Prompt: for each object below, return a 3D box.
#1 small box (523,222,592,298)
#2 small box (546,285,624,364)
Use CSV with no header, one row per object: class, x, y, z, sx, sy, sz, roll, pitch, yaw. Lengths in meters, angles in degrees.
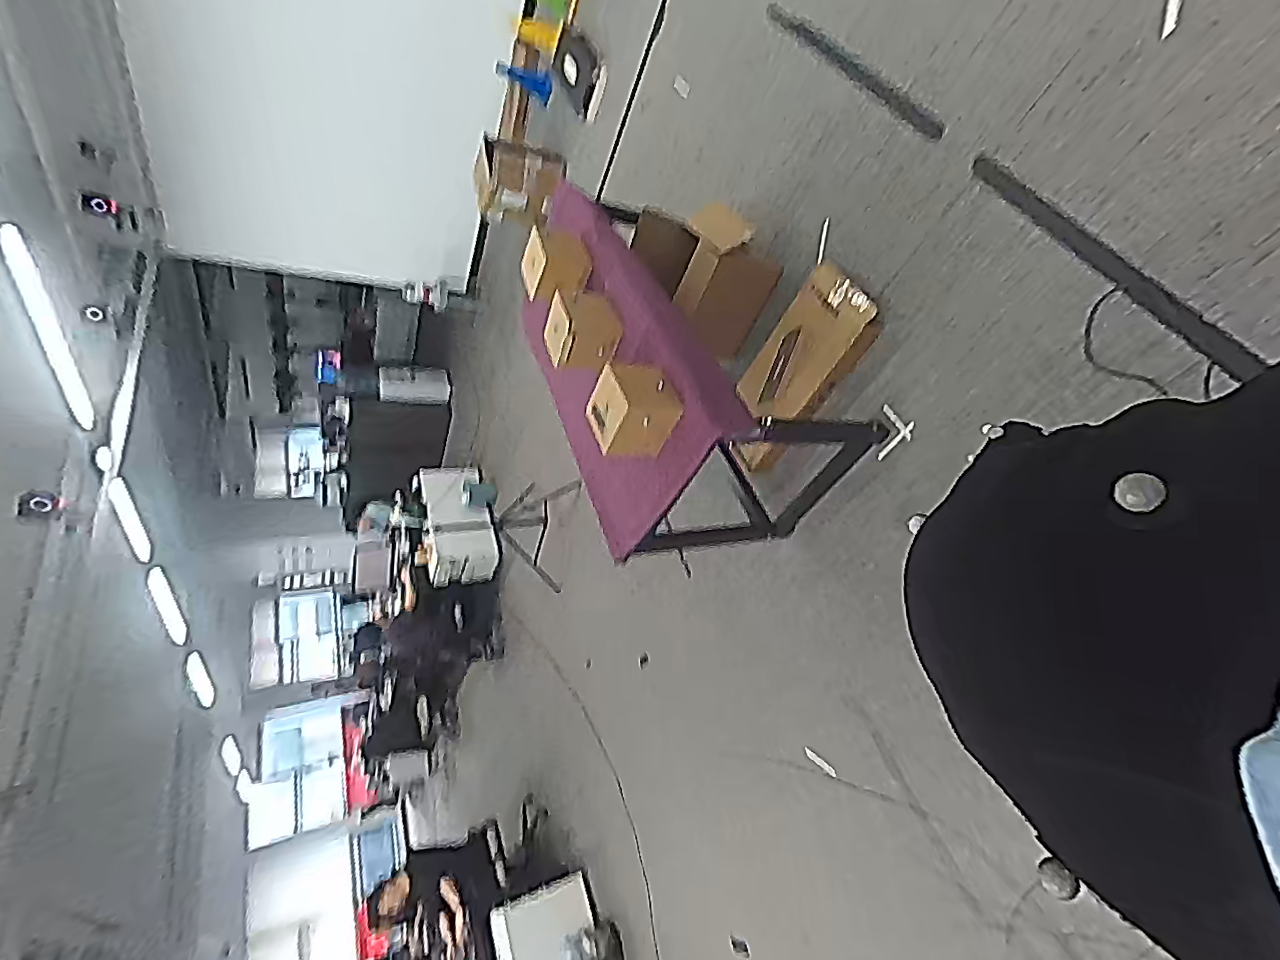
small box,-0.275,-0.727,1.808,0.168,0.176,0.179,-53,49,47
small box,-0.170,-0.468,1.654,0.179,0.176,0.168,65,144,32
